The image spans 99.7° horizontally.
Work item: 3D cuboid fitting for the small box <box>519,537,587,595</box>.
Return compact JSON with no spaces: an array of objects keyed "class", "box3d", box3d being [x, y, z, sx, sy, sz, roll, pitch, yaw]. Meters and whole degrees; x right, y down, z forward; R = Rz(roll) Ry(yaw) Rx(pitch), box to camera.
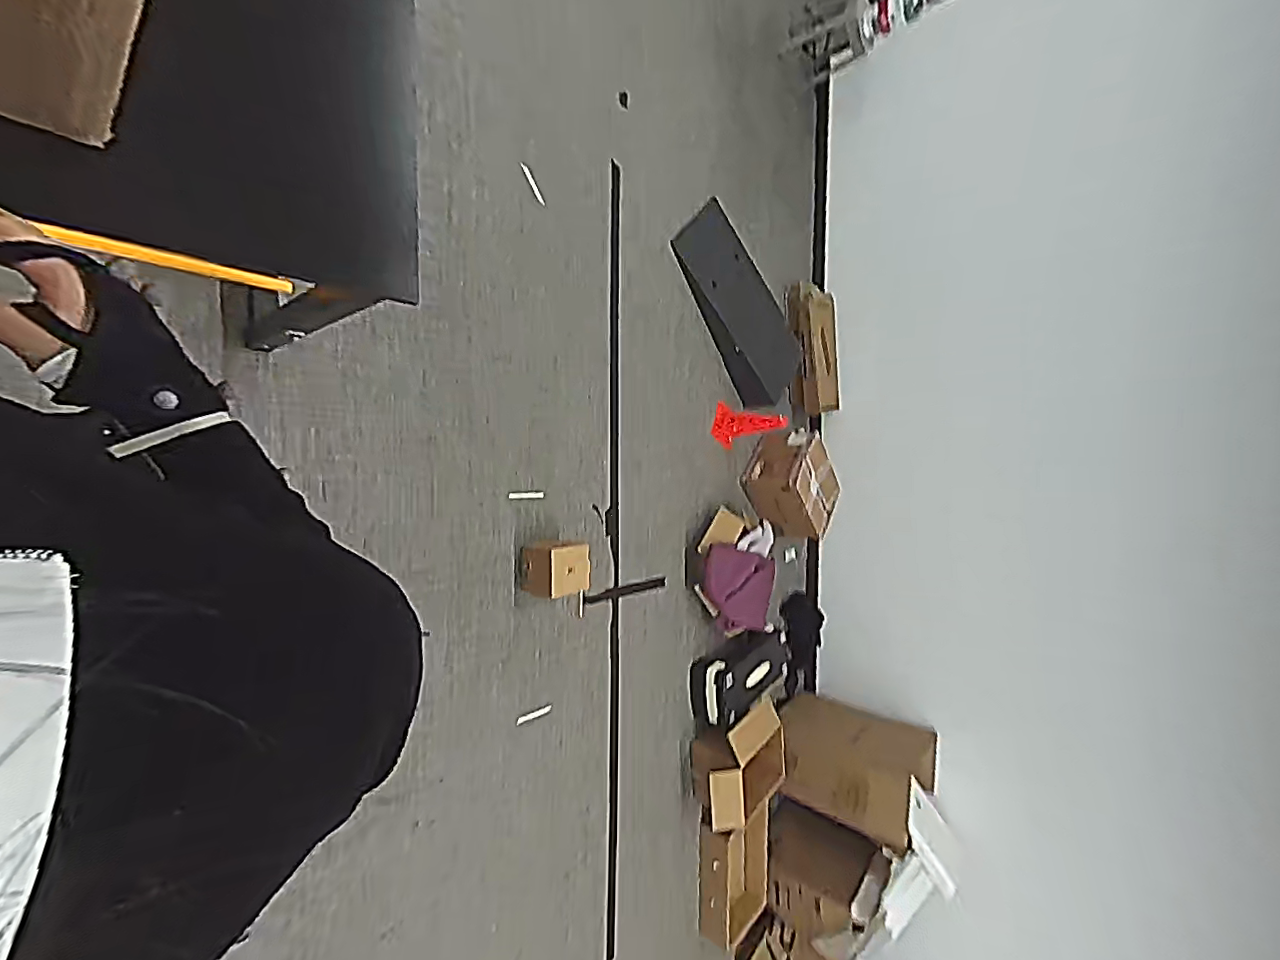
[{"class":"small box","box3d":[-0.307,0.297,1.906,0.179,0.176,0.168,-3,93,-48]}]
